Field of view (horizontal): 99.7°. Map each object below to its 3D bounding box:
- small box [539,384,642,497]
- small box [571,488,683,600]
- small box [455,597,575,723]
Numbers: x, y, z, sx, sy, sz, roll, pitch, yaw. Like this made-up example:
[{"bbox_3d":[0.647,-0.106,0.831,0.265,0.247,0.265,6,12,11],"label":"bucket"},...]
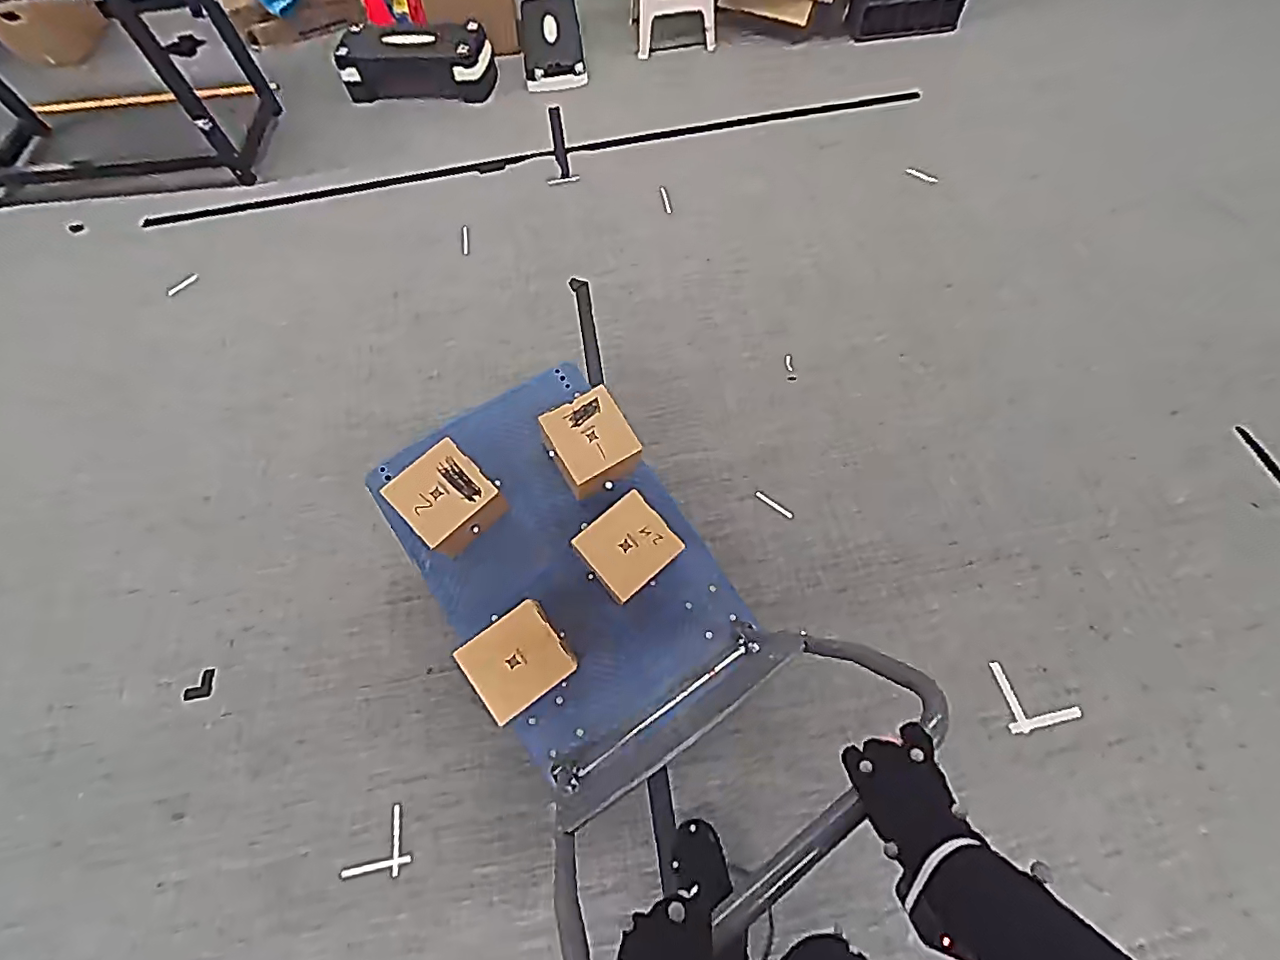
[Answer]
[{"bbox_3d":[-0.116,-0.084,1.238,0.168,0.176,0.179,-30,81,-12],"label":"small box"},{"bbox_3d":[-0.031,0.148,1.184,0.179,0.176,0.168,-40,82,-13],"label":"small box"},{"bbox_3d":[-0.244,0.363,1.108,0.179,0.176,0.168,-36,81,-14],"label":"small box"}]
